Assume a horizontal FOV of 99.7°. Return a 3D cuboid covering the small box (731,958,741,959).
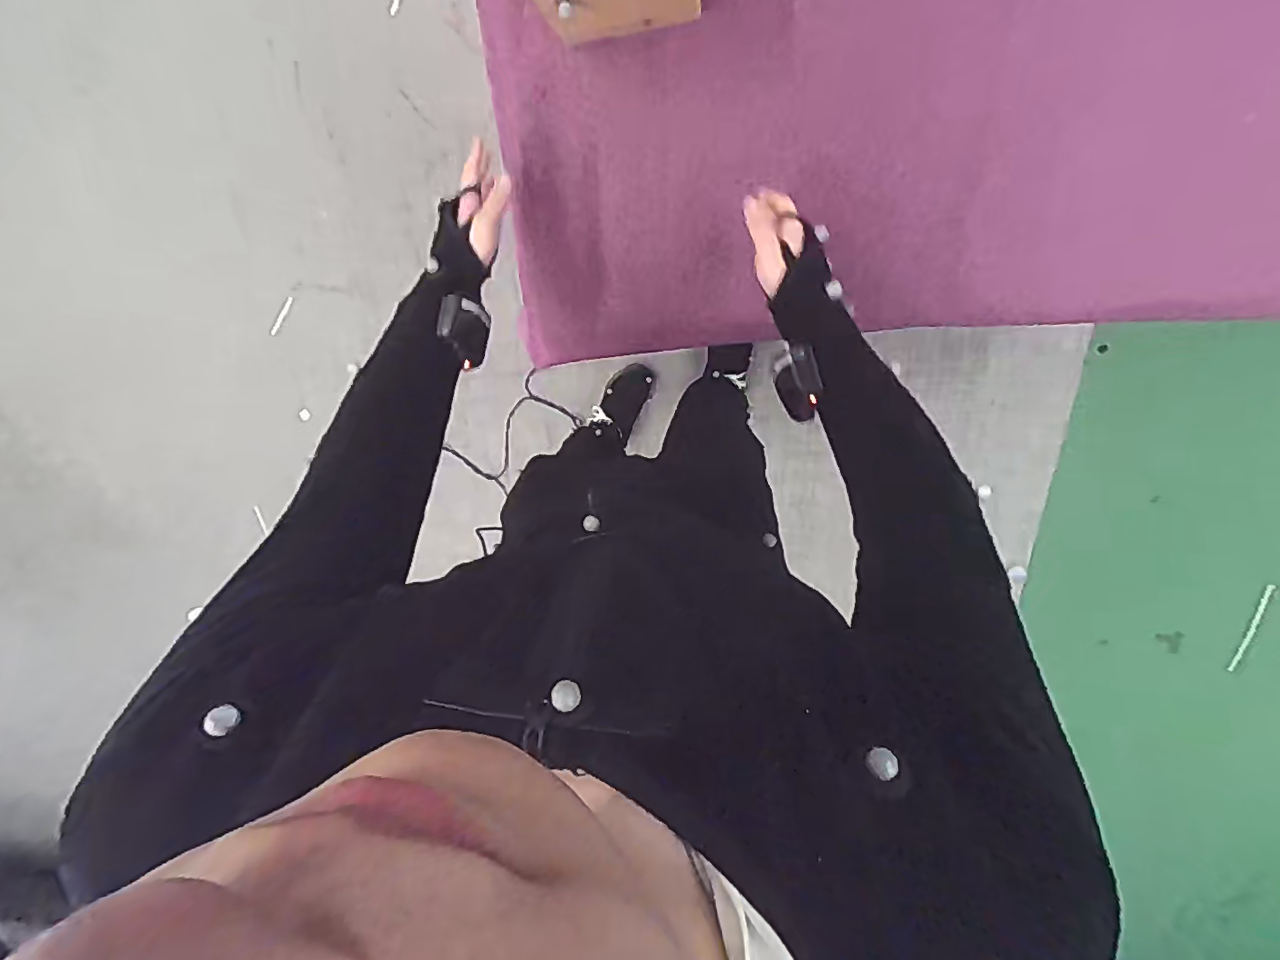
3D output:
[{"bbox_3d":[0.322,1.520,1.551,0.179,0.176,0.168,1,115,7],"label":"small box"}]
